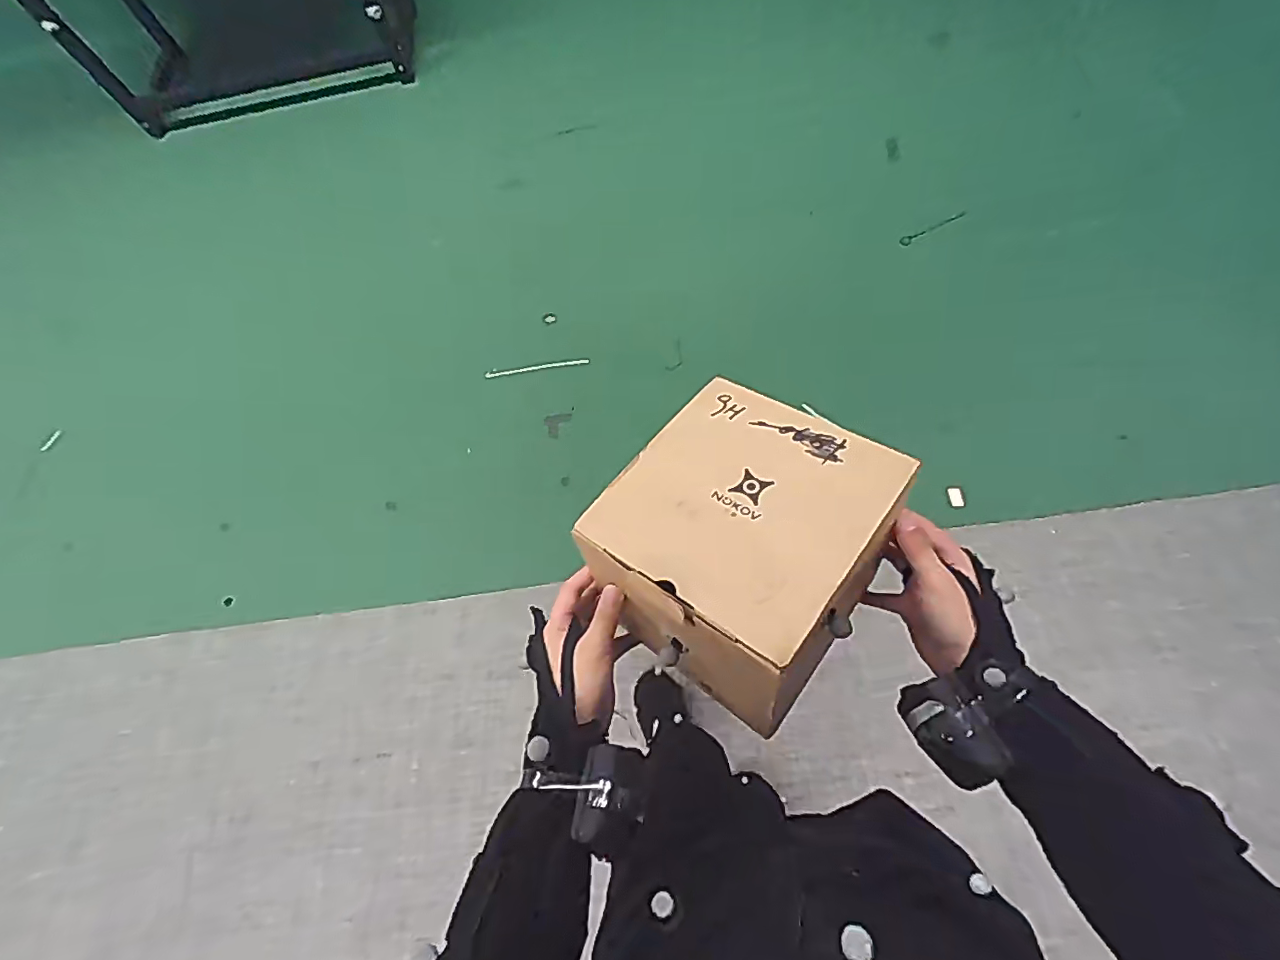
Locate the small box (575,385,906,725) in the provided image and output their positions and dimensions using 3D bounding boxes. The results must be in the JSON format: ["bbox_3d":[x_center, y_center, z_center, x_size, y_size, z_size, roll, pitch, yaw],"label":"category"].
[{"bbox_3d":[0.080,0.062,0.435,0.168,0.176,0.179,30,64,29],"label":"small box"}]
